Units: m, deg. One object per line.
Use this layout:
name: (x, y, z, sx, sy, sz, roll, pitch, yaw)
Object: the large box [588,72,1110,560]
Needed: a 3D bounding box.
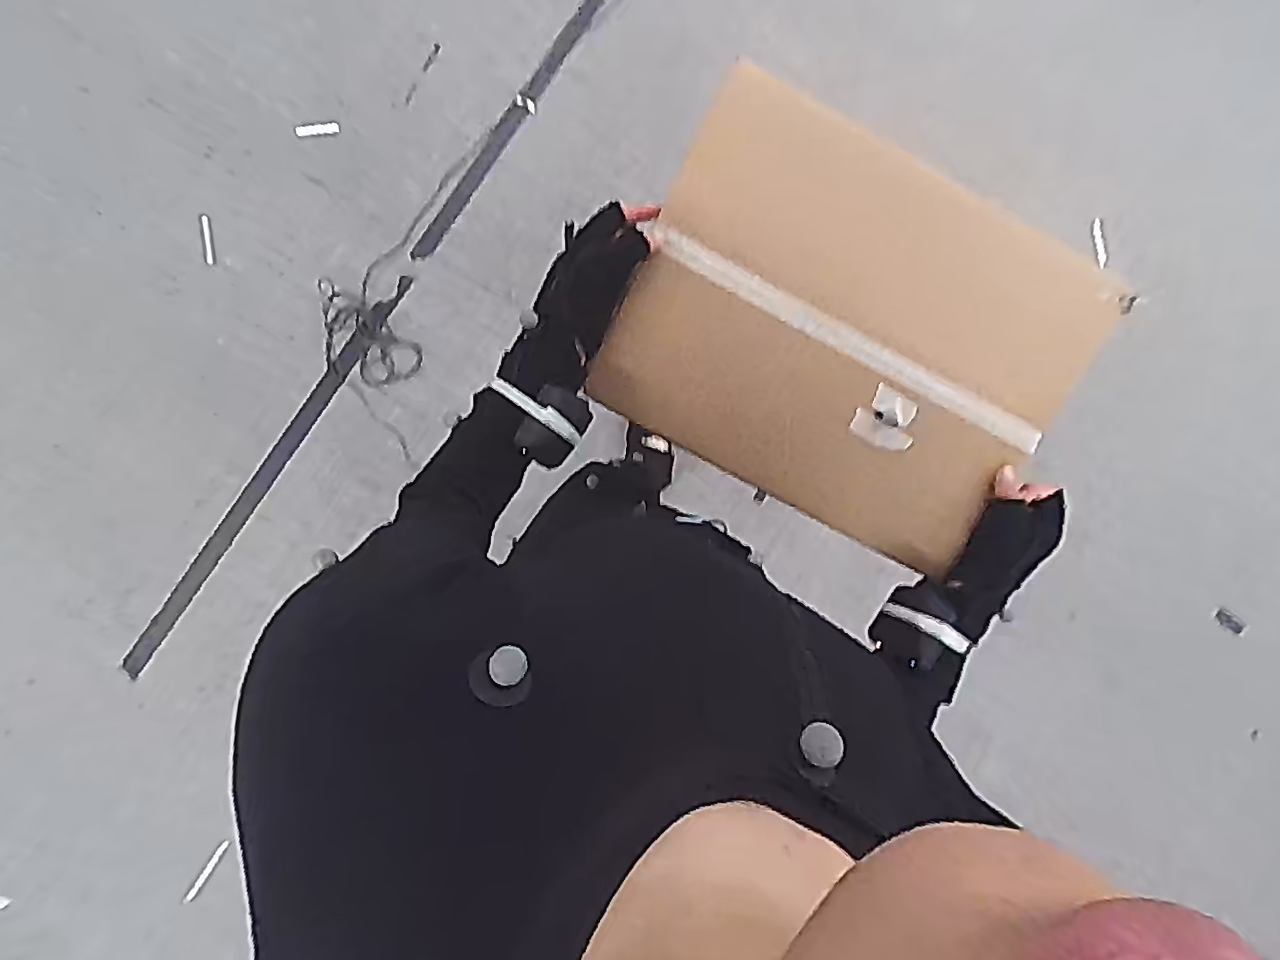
large box: (0.191, -0.165, 0.655, 0.408, 0.320, 0.320, 28, 101, -5)
